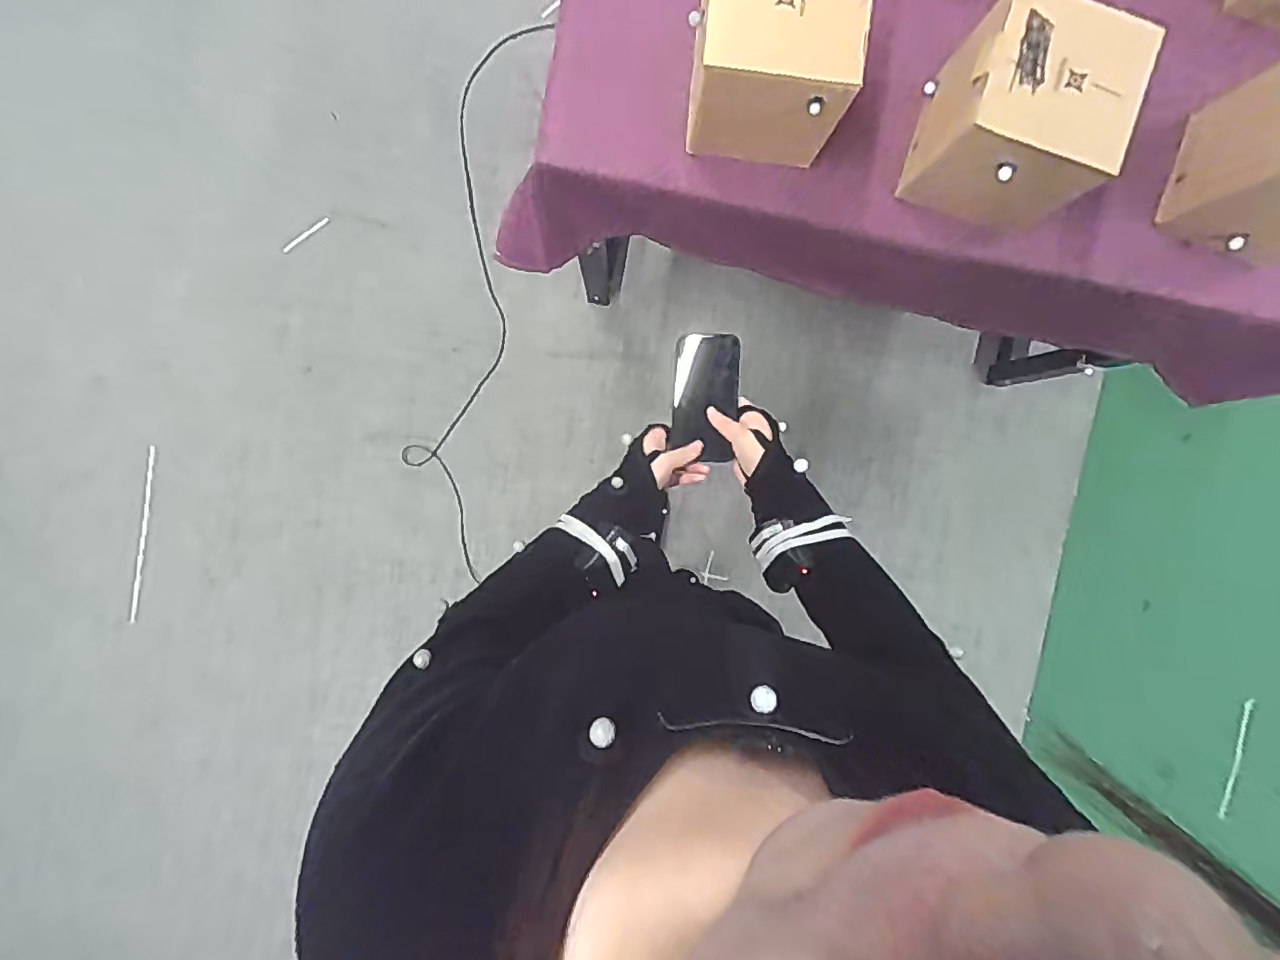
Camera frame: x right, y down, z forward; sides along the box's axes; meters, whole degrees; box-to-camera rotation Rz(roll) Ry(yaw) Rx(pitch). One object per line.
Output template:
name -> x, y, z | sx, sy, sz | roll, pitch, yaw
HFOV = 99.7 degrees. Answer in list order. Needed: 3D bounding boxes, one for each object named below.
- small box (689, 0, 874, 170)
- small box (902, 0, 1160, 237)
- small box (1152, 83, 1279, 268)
small box -> 0.160, -0.507, 0.657 | 0.179, 0.176, 0.168 | 5, 92, -4
small box -> 0.464, -0.432, 0.672 | 0.179, 0.176, 0.168 | 17, 92, -4
small box -> 0.833, -0.393, 0.690 | 0.179, 0.176, 0.168 | 18, 91, -3
